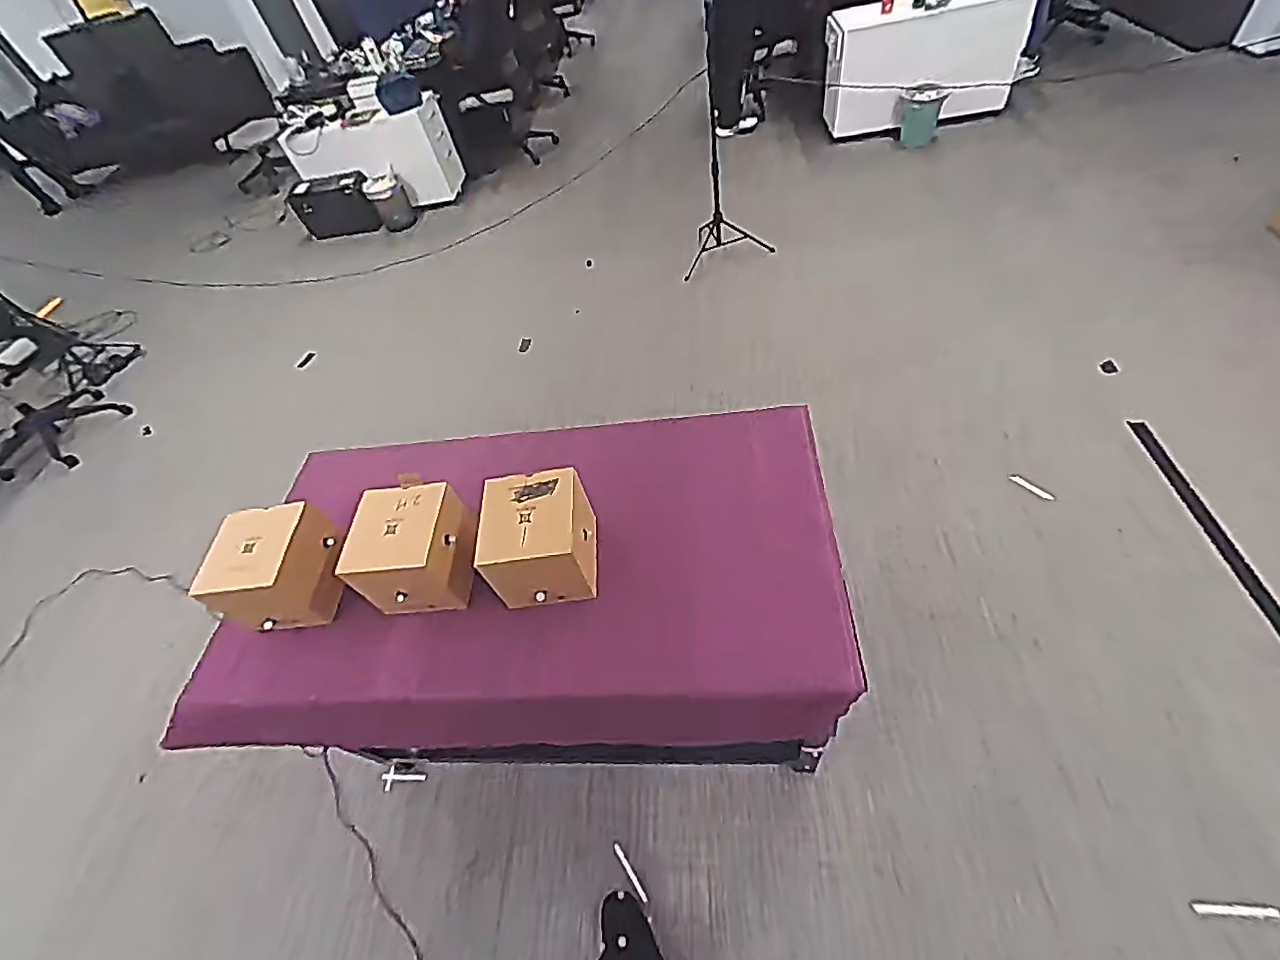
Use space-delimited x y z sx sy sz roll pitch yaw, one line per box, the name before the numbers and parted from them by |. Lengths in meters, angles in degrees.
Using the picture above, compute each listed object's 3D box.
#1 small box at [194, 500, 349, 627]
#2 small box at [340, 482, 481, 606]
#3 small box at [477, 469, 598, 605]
small box | -0.685 0.163 1.043 0.168 0.176 0.179 -7 51 7
small box | -0.414 0.127 1.014 0.168 0.176 0.179 -5 51 8
small box | -0.175 0.105 0.982 0.168 0.176 0.179 -8 52 6
